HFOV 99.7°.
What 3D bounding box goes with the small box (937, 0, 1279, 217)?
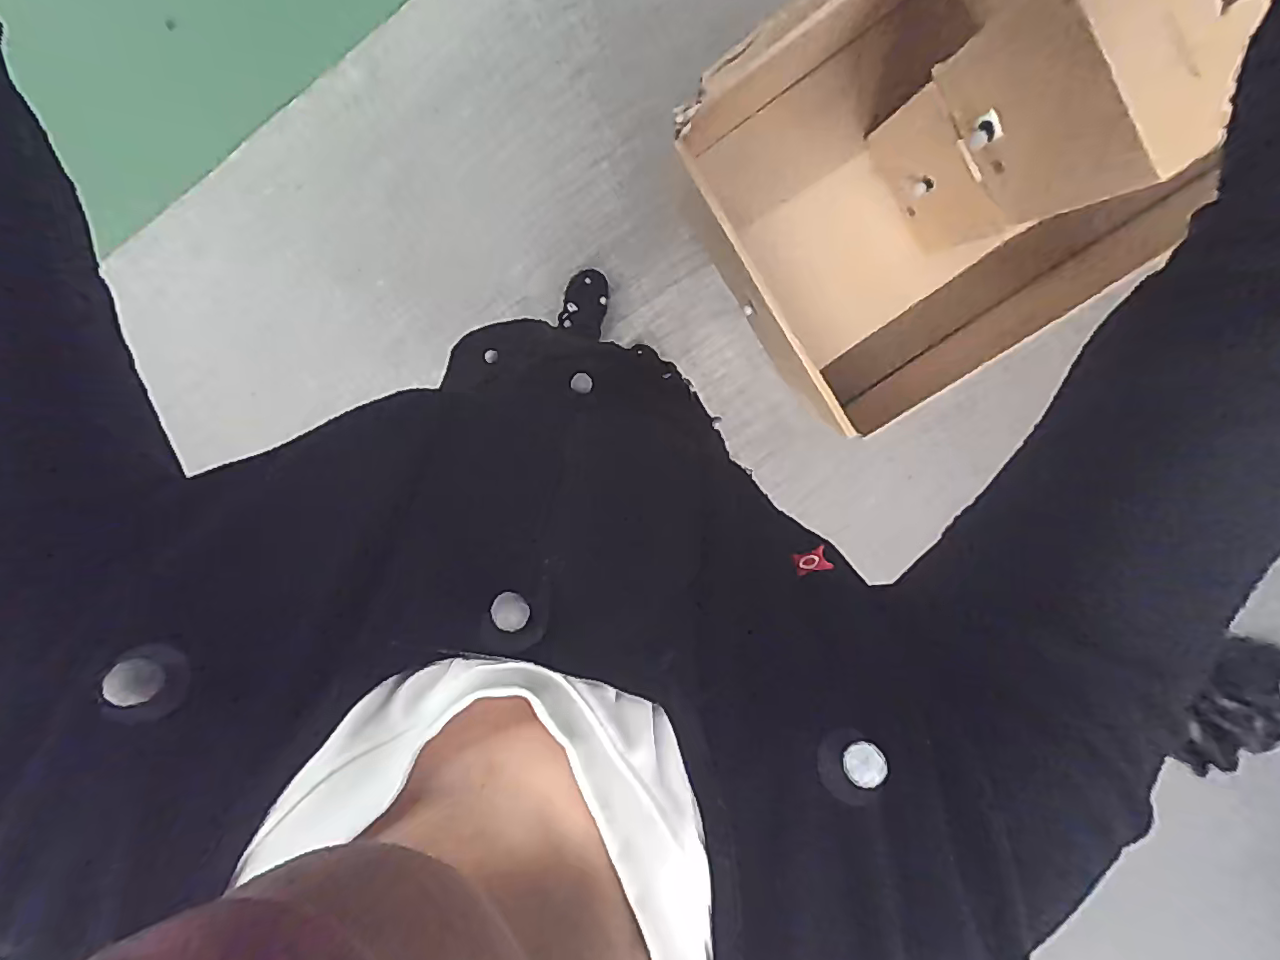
[{"bbox_3d":[0.387,-0.347,0.431,0.179,0.176,0.168,-35,101,10],"label":"small box"}]
